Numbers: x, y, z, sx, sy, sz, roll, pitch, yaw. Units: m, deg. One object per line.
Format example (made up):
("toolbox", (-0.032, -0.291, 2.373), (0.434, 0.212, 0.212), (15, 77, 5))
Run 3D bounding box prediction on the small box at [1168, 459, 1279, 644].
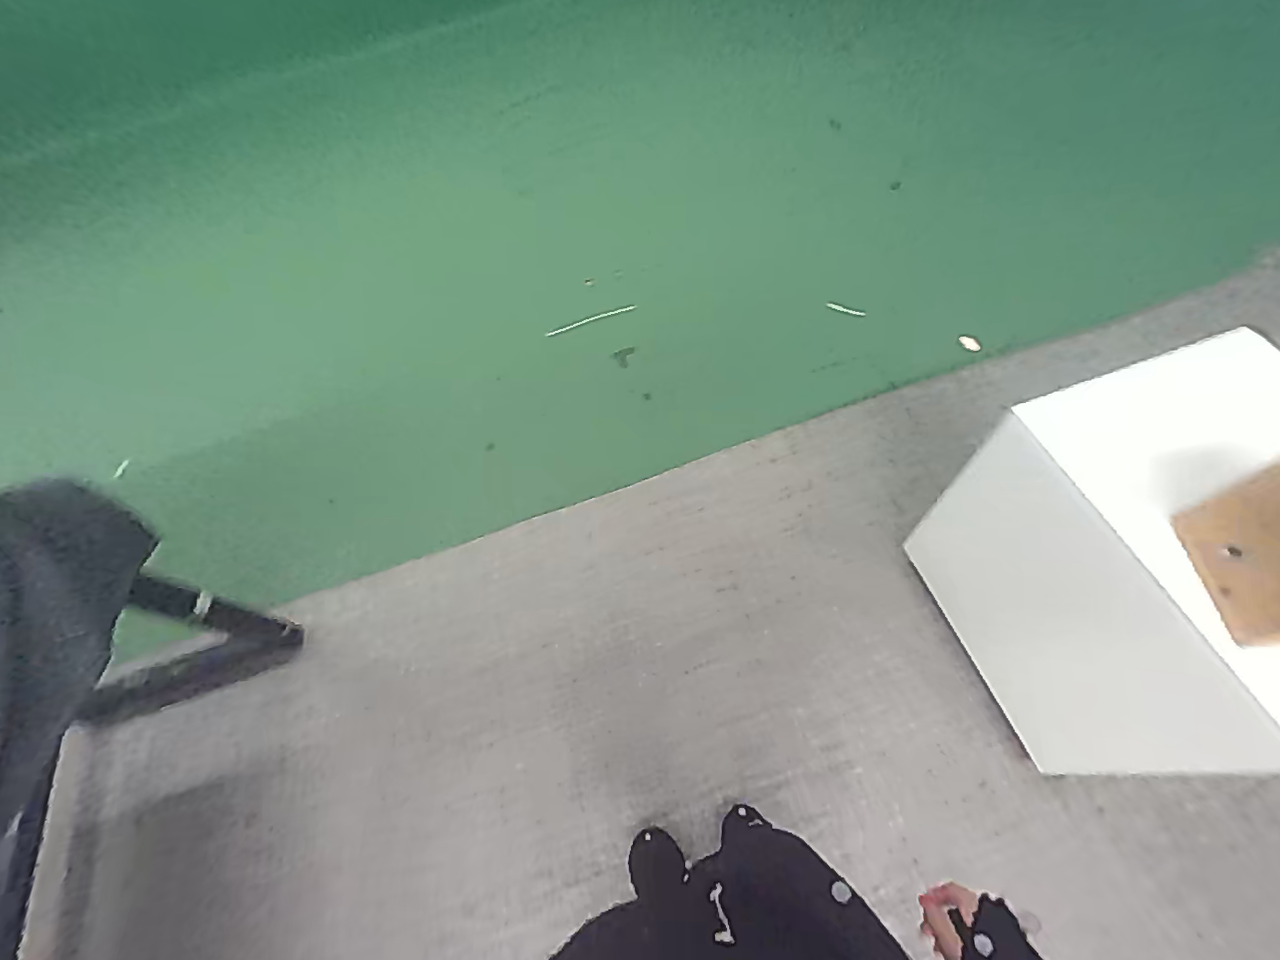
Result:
("small box", (0.759, 0.077, 0.589), (0.179, 0.176, 0.168), (-5, 61, 5))
